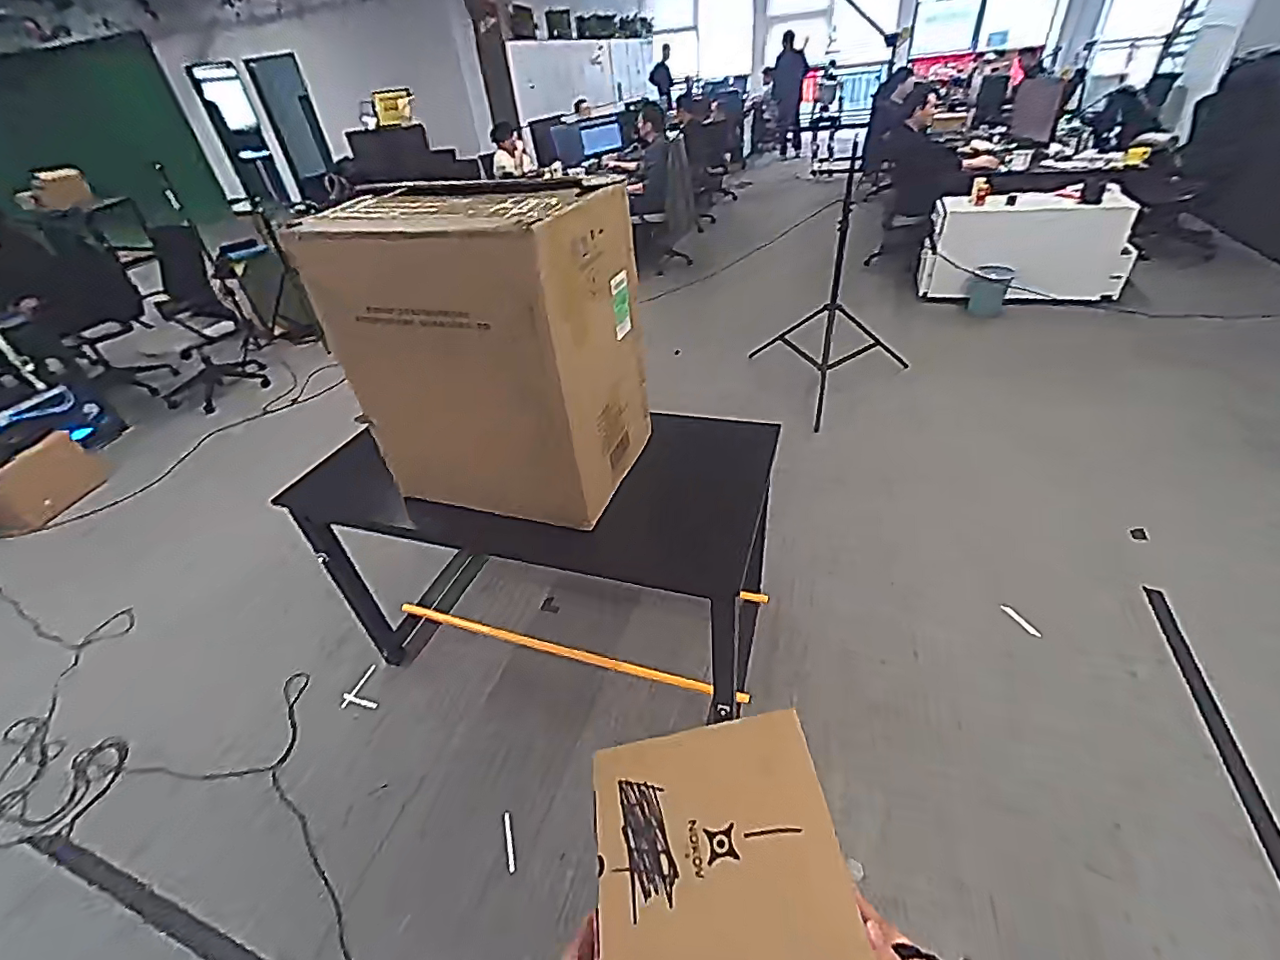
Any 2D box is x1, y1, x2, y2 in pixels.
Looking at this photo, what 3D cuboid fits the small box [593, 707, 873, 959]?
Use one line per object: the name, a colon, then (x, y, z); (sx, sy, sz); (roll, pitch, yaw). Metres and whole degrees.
small box: (0.072, 0.316, 0.435); (0.179, 0.176, 0.168); (-15, 40, 6)
